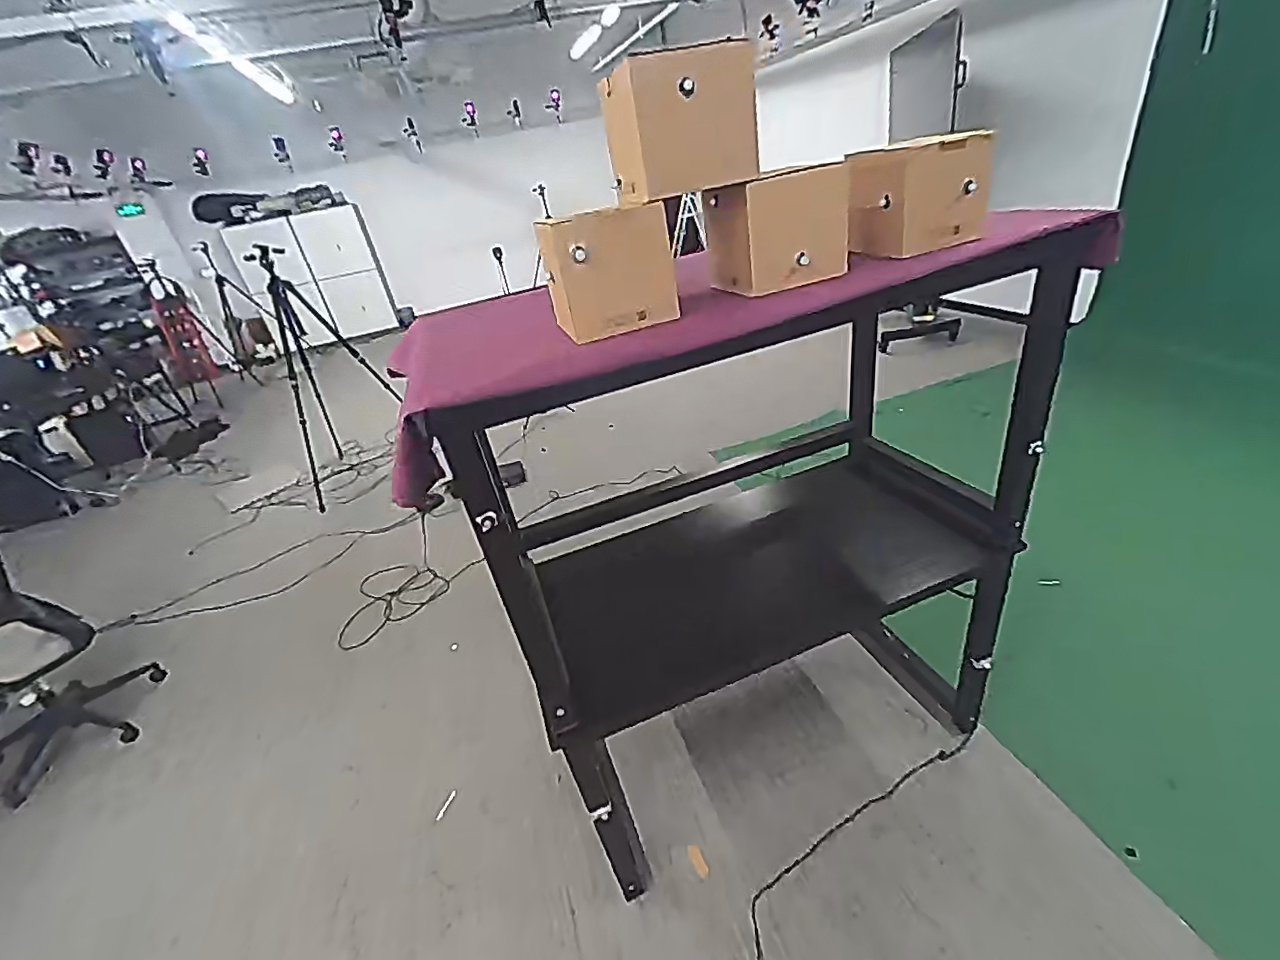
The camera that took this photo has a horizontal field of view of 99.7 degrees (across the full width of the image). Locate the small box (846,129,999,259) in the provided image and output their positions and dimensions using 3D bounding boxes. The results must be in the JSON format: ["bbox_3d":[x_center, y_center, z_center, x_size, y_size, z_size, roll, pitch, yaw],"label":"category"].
[{"bbox_3d":[0.485,-0.497,0.952,0.168,0.176,0.179,-16,30,-8],"label":"small box"}]

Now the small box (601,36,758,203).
[{"bbox_3d":[0.058,-0.510,0.790,0.179,0.176,0.168,-16,29,-10],"label":"small box"}]
